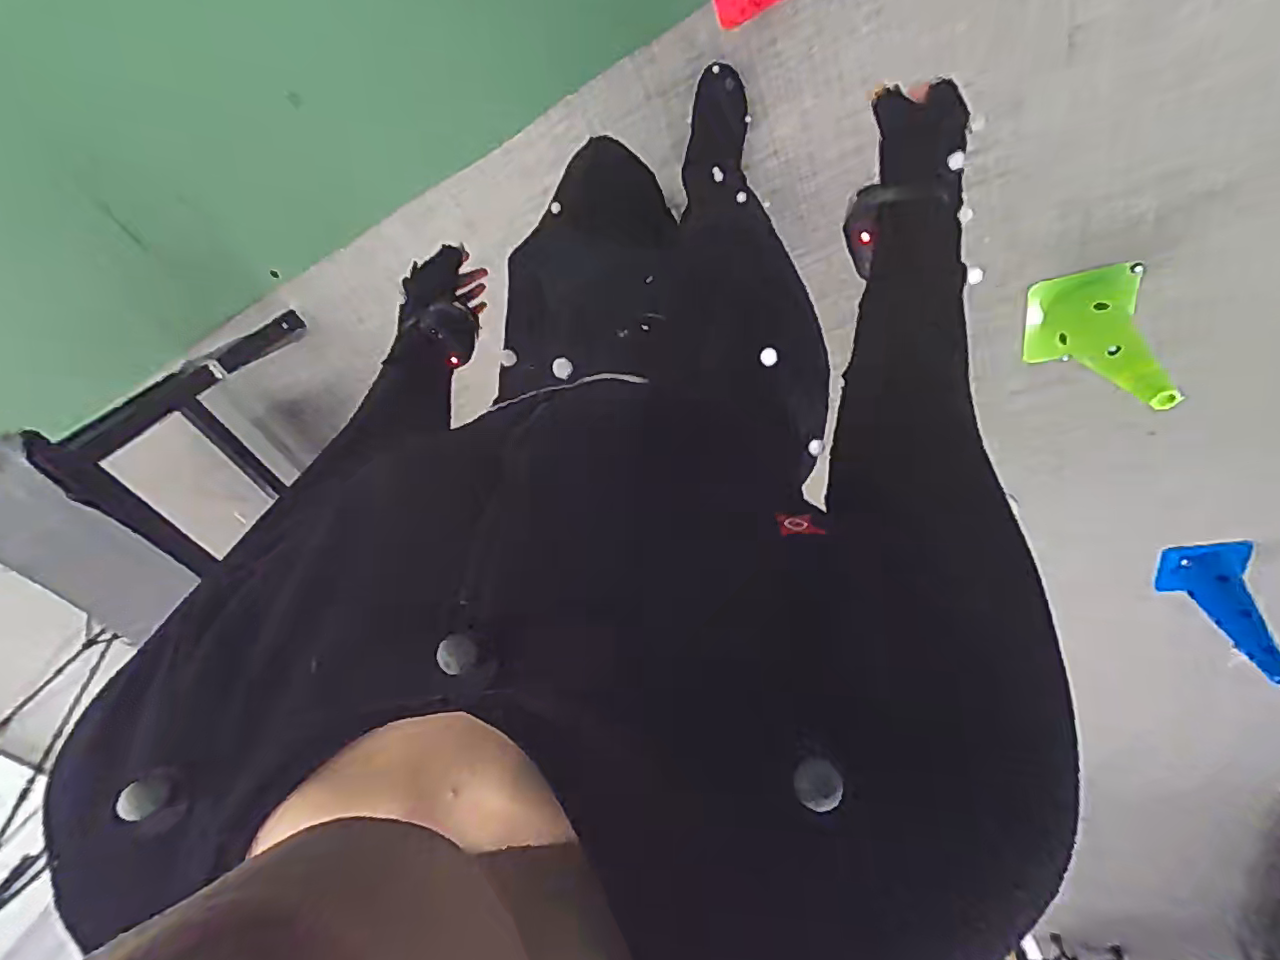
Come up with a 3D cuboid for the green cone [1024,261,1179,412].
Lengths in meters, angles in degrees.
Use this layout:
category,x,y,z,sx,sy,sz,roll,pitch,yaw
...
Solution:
category,x,y,z,sx,sy,sz,roll,pitch,yaw
green cone,0.933,-0.253,1.063,0.200,0.368,0.202,-10,127,22
